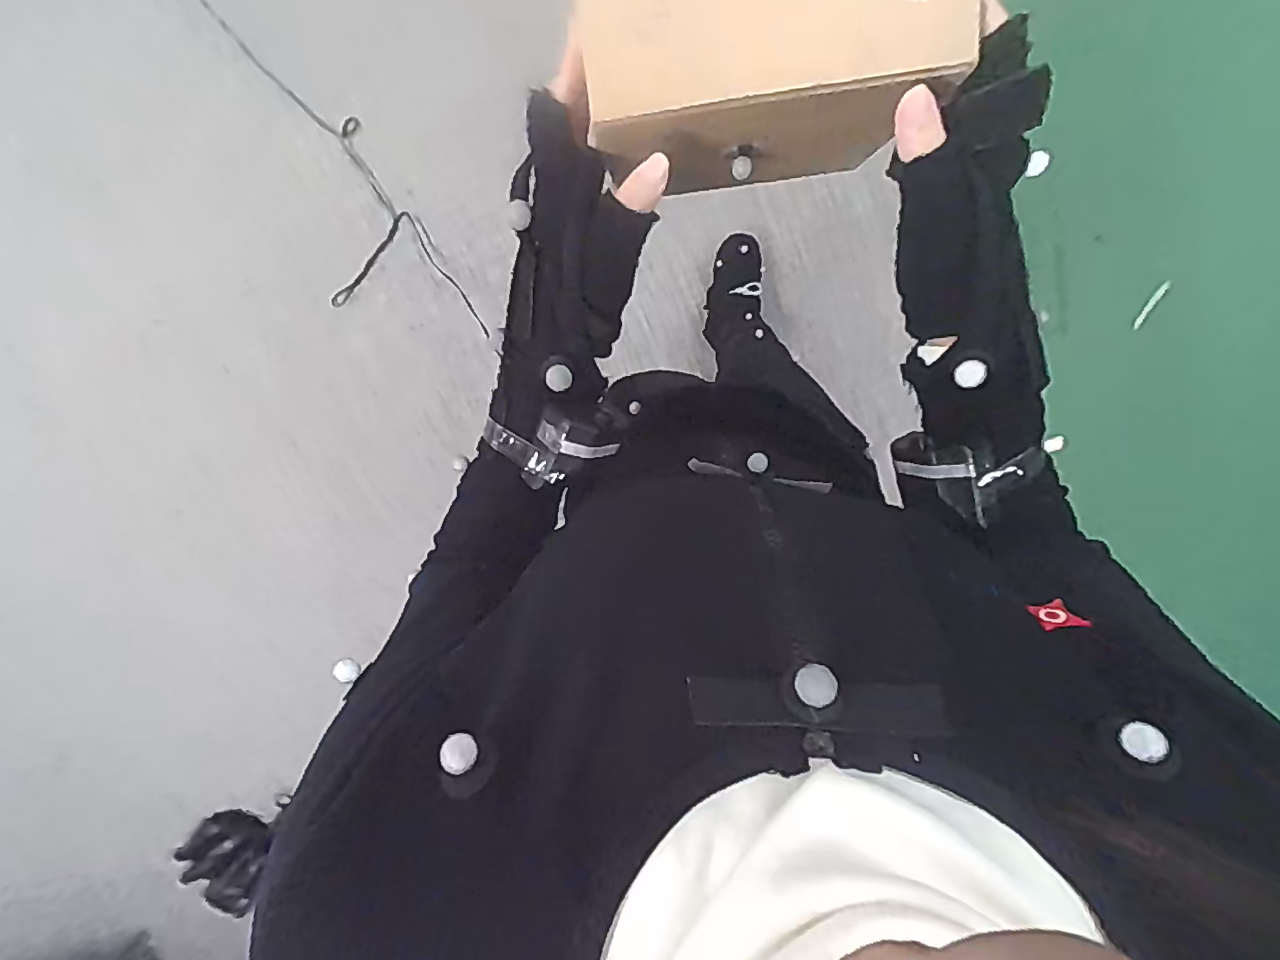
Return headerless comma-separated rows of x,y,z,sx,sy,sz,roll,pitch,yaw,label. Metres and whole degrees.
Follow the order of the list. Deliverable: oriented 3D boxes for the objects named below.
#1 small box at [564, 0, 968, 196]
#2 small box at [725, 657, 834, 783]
0.053,-0.275,0.300,0.179,0.176,0.168,-6,105,7,small box
0.299,0.520,1.192,0.179,0.176,0.168,-21,103,10,small box
